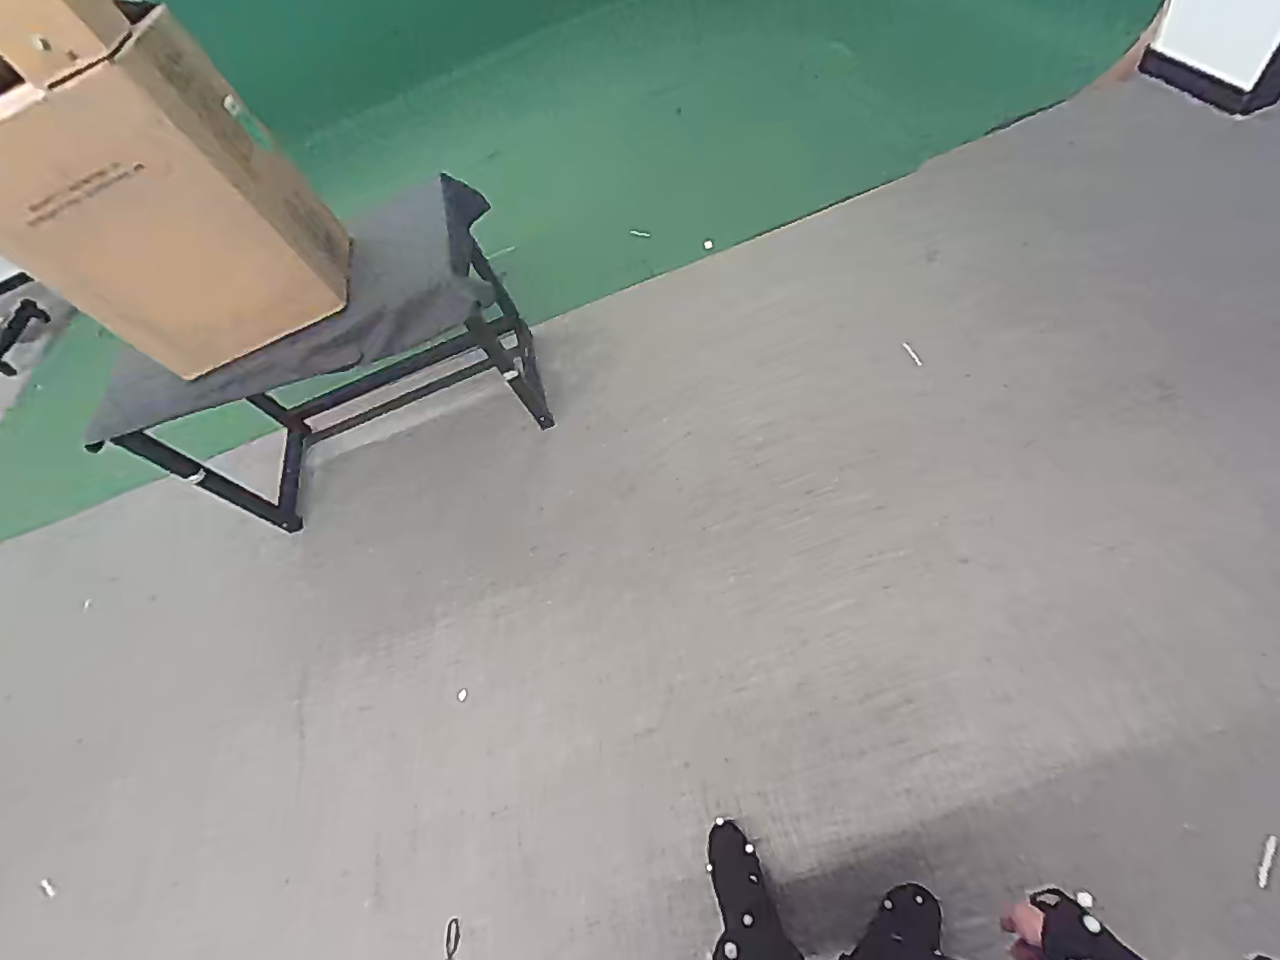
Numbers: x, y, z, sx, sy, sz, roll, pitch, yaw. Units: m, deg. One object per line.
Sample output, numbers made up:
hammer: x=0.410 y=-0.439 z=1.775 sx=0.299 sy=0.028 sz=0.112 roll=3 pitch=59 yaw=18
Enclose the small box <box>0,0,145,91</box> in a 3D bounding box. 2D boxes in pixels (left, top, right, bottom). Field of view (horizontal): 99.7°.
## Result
small box: x=-1.101 y=-0.882 z=1.025 sx=0.168 sy=0.176 sz=0.179 roll=-22 pitch=56 yaw=4
